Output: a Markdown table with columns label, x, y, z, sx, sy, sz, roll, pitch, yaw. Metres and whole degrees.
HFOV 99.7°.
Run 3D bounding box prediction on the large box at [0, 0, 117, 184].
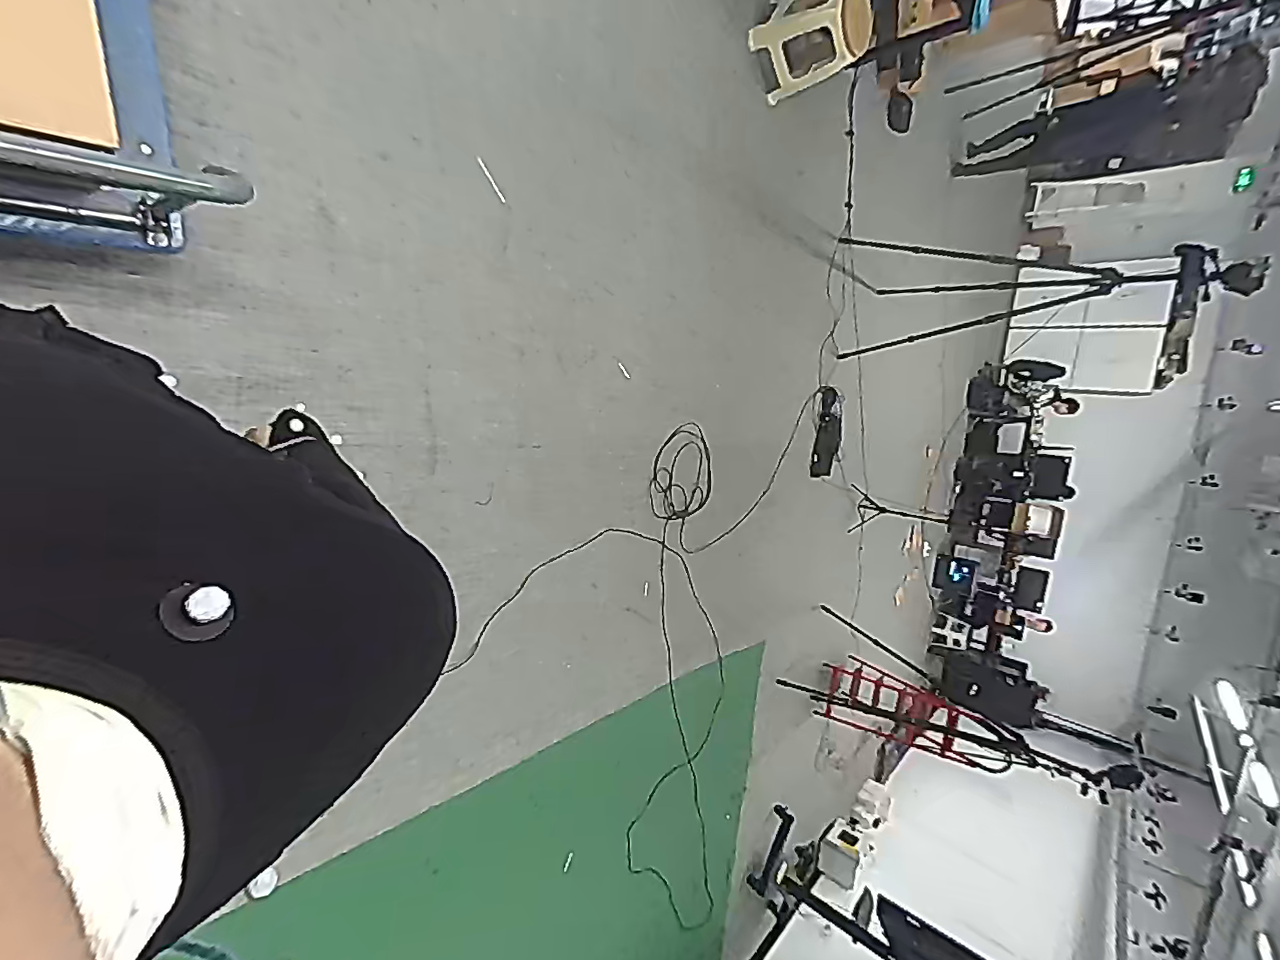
| label | x | y | z | sx | sy | sz | roll | pitch | yaw |
| --- | --- | --- | --- | --- | --- | --- | --- | --- | --- |
| large box | -1.005 | -0.694 | 0.764 | 0.320 | 0.320 | 0.408 | -14 | 109 | -46 |
